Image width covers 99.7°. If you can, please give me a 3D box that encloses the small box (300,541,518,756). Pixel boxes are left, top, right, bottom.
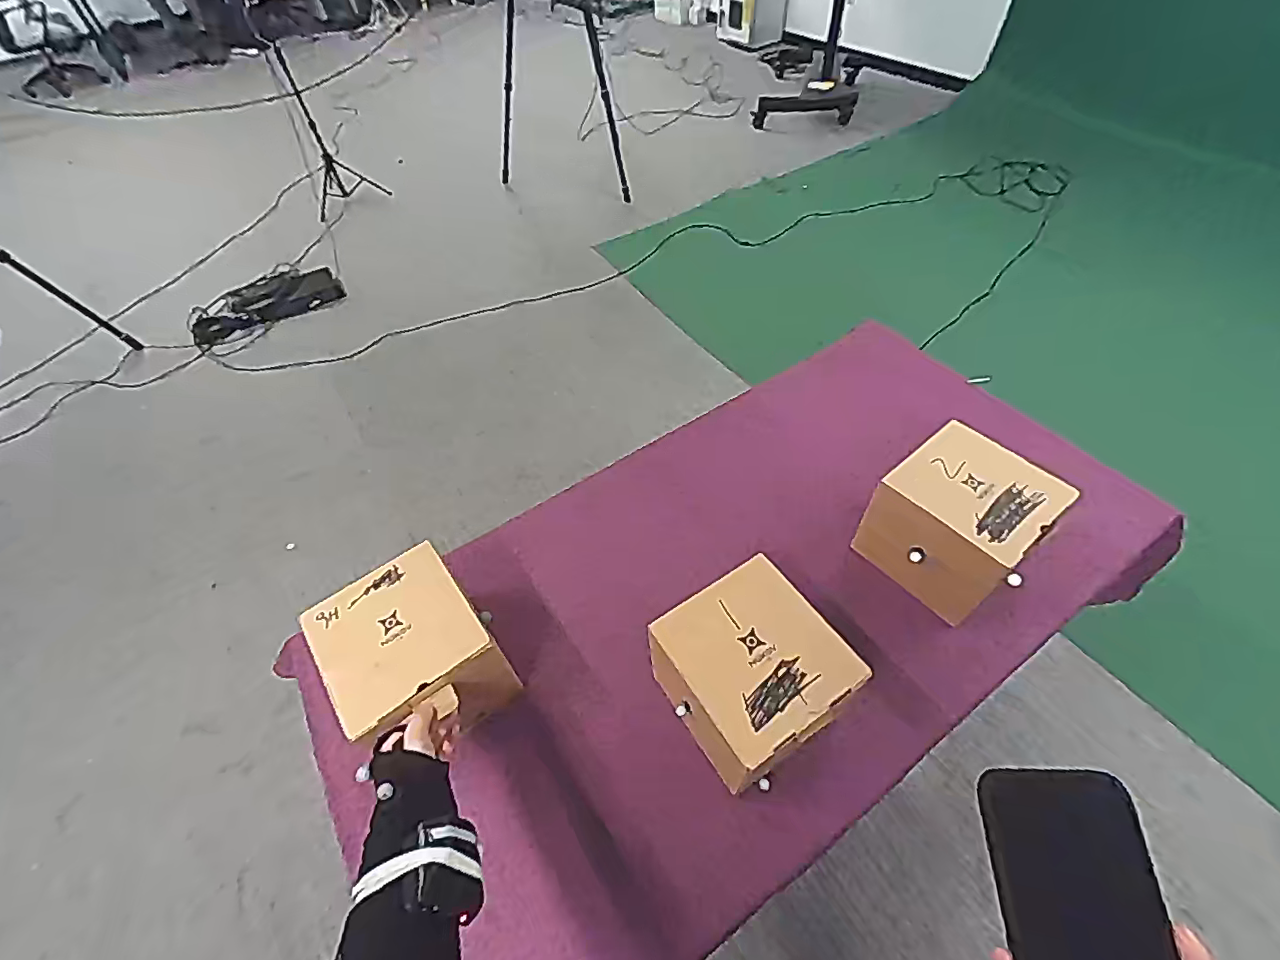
[{"bbox_3d":[-0.275,0.217,0.676,0.168,0.176,0.179,-33,58,-20],"label":"small box"}]

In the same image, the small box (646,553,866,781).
[{"bbox_3d":[0.125,0.226,0.638,0.168,0.176,0.179,-29,55,-17],"label":"small box"}]
